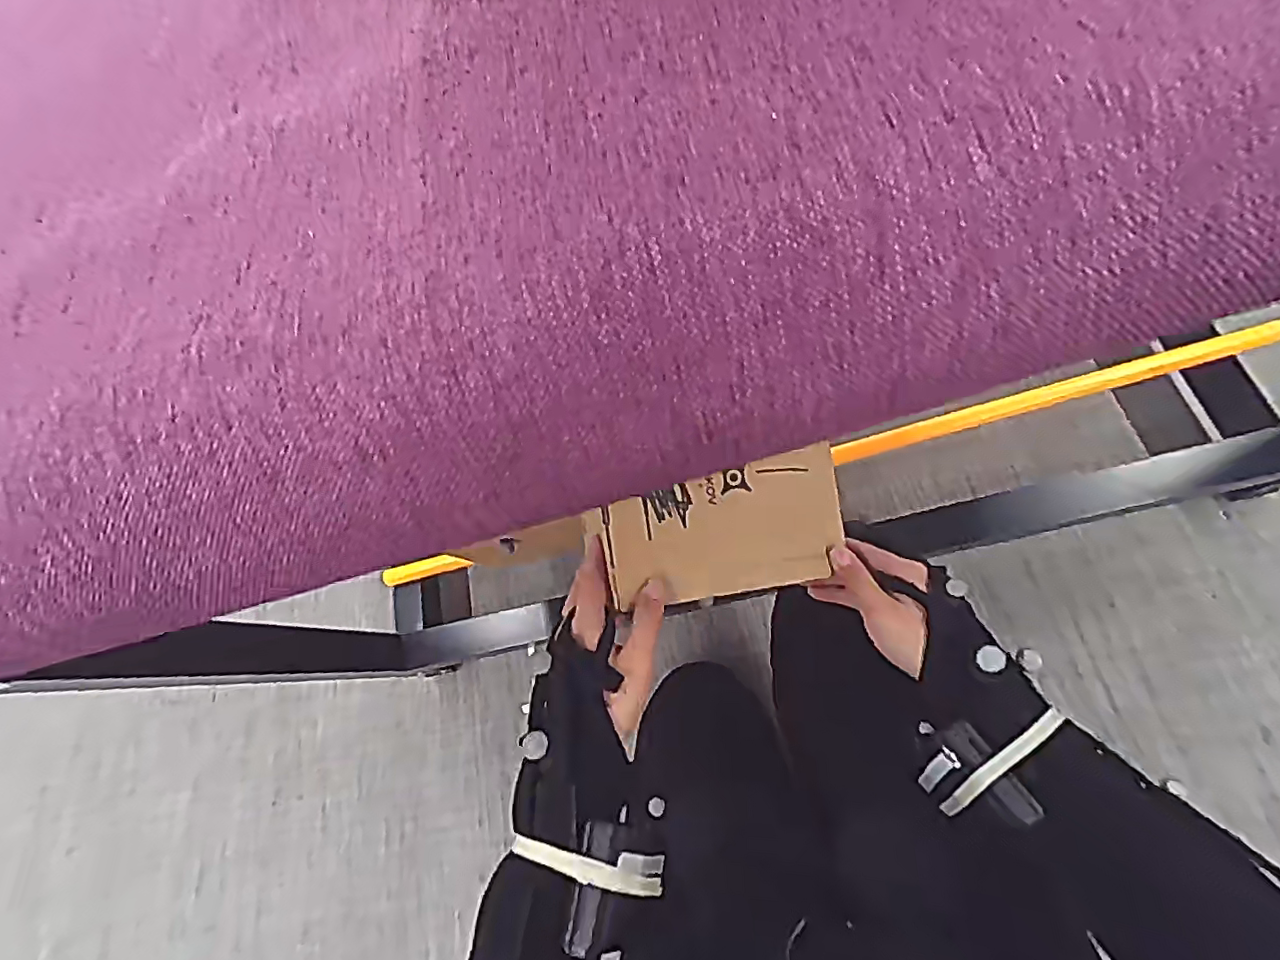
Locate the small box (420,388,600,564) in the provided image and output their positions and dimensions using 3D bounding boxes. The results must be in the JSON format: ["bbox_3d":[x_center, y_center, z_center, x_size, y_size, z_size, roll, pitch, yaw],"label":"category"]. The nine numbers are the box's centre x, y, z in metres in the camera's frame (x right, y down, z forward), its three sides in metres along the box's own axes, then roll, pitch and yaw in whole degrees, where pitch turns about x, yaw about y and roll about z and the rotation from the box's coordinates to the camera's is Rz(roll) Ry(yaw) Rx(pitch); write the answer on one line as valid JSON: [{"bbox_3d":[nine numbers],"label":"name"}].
[{"bbox_3d":[-0.160,0.006,0.712,0.179,0.176,0.168,-15,71,8],"label":"small box"}]
